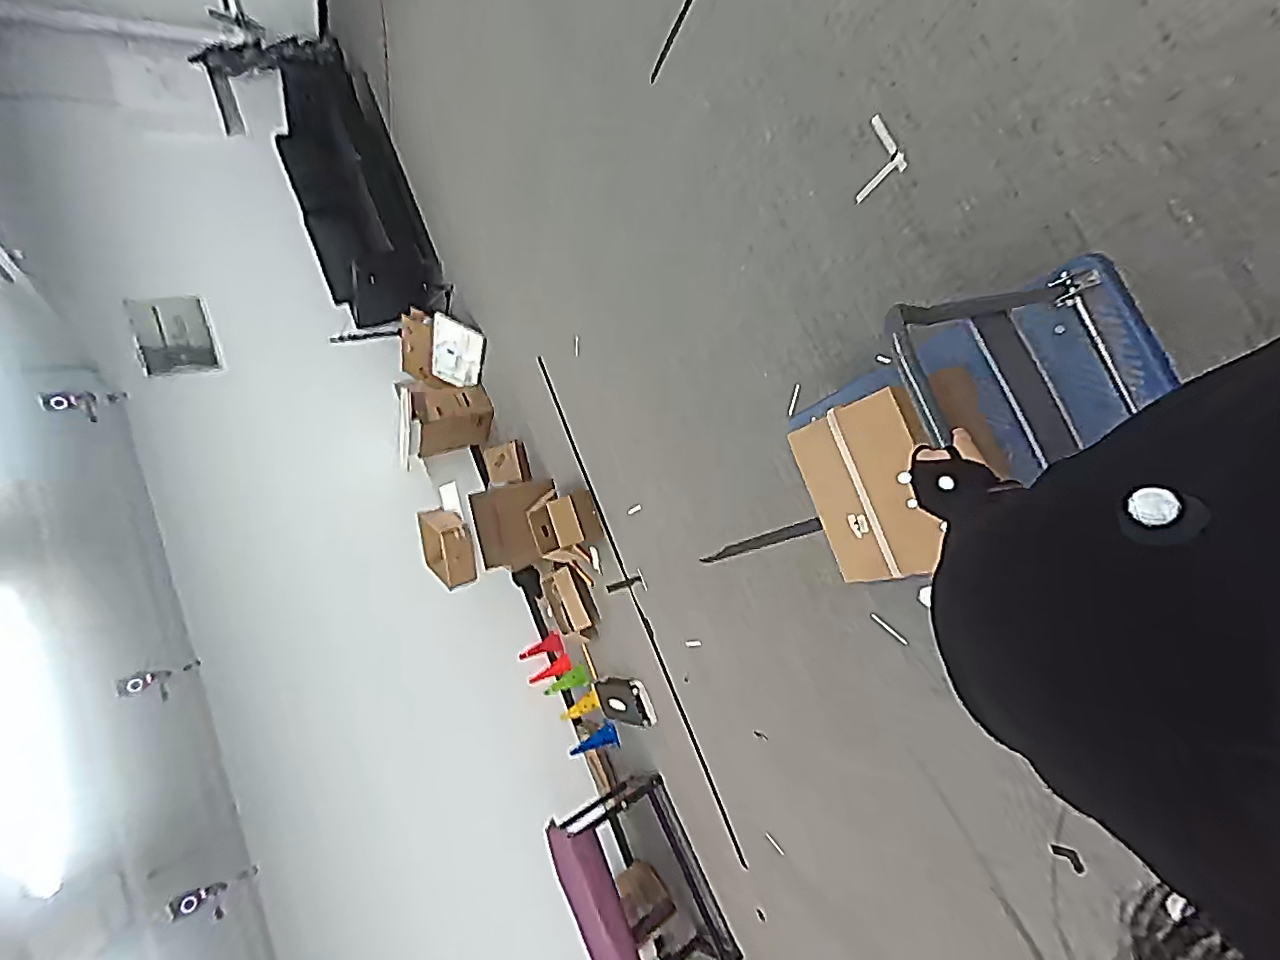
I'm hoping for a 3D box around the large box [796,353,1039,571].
[{"bbox_3d":[0.654,-0.038,1.298,0.320,0.320,0.408,-29,81,59],"label":"large box"}]
